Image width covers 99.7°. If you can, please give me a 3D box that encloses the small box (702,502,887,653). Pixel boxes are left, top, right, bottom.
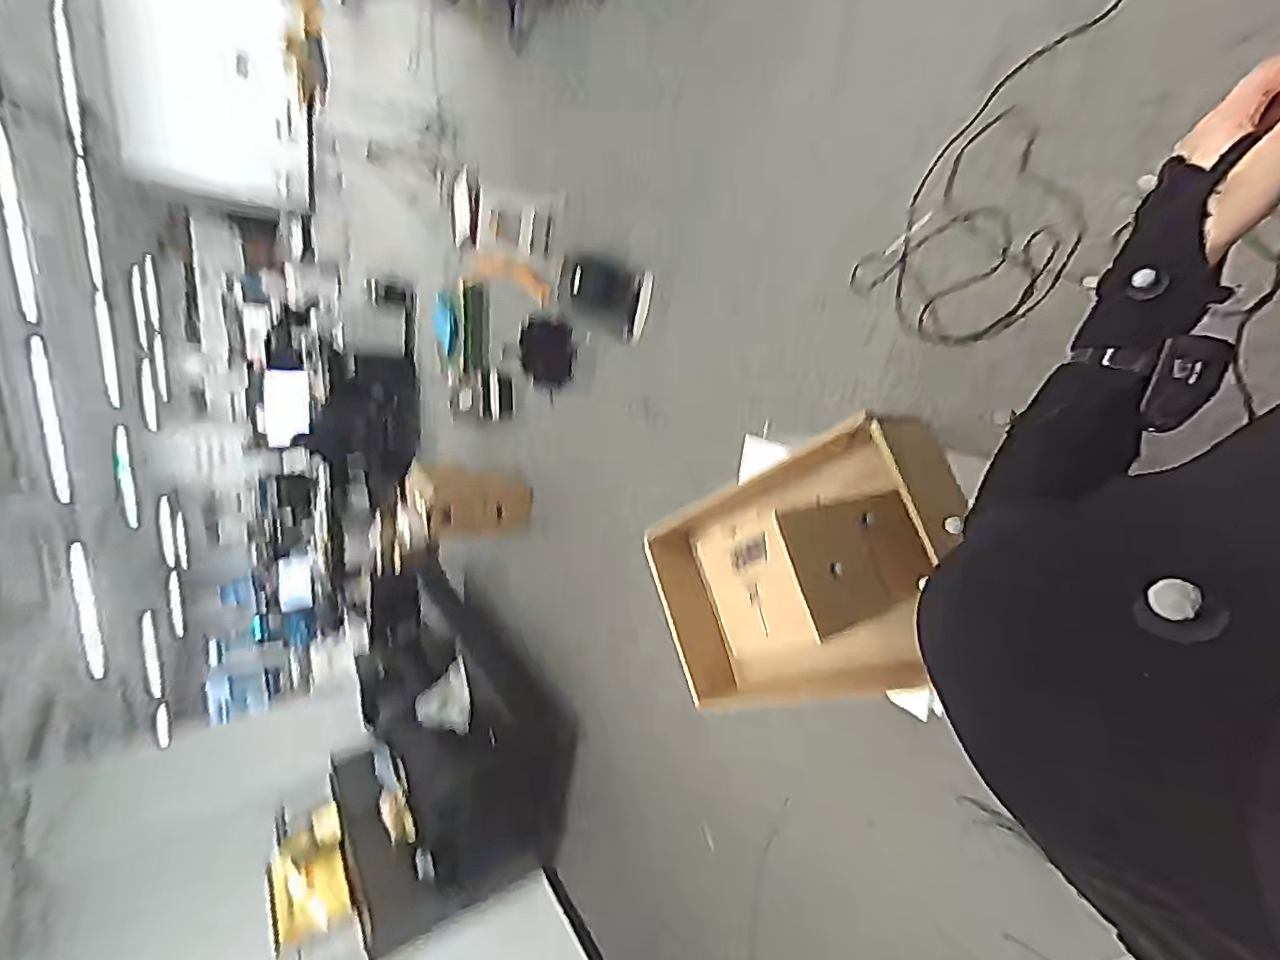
[{"bbox_3d":[0.227,0.139,0.801,0.168,0.176,0.179,-34,69,51],"label":"small box"}]
